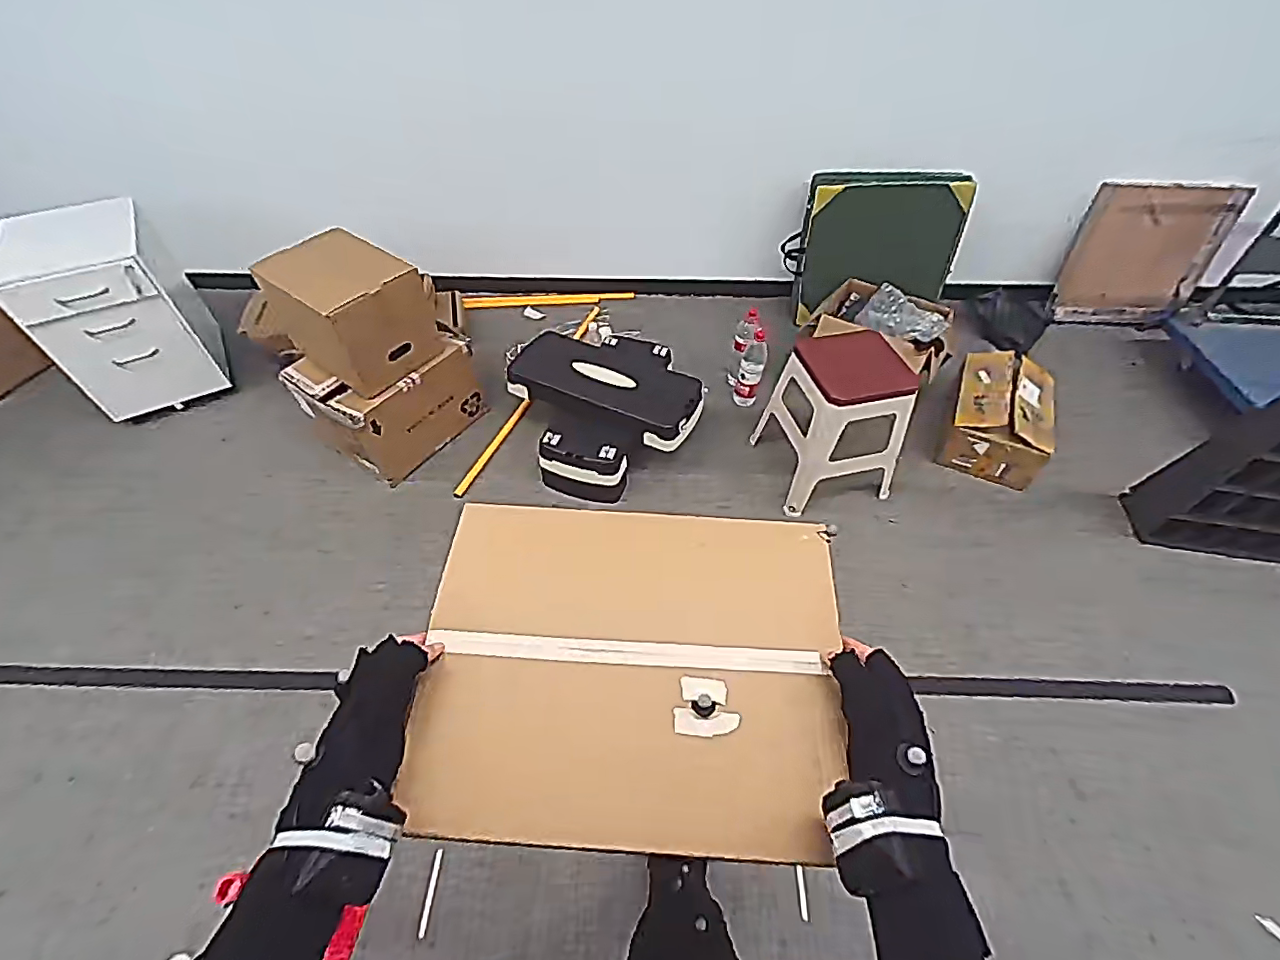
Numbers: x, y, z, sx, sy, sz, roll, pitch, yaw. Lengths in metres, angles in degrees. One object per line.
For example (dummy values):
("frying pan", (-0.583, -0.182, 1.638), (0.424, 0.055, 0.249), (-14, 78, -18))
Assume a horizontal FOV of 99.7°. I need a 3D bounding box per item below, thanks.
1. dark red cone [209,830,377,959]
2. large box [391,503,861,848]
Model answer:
("dark red cone", (-0.673, 0.754, 1.005), (0.201, 0.394, 0.202), (7, 51, 4))
("large box", (-0.010, 0.247, 0.655), (0.408, 0.320, 0.320), (4, 56, 1))
